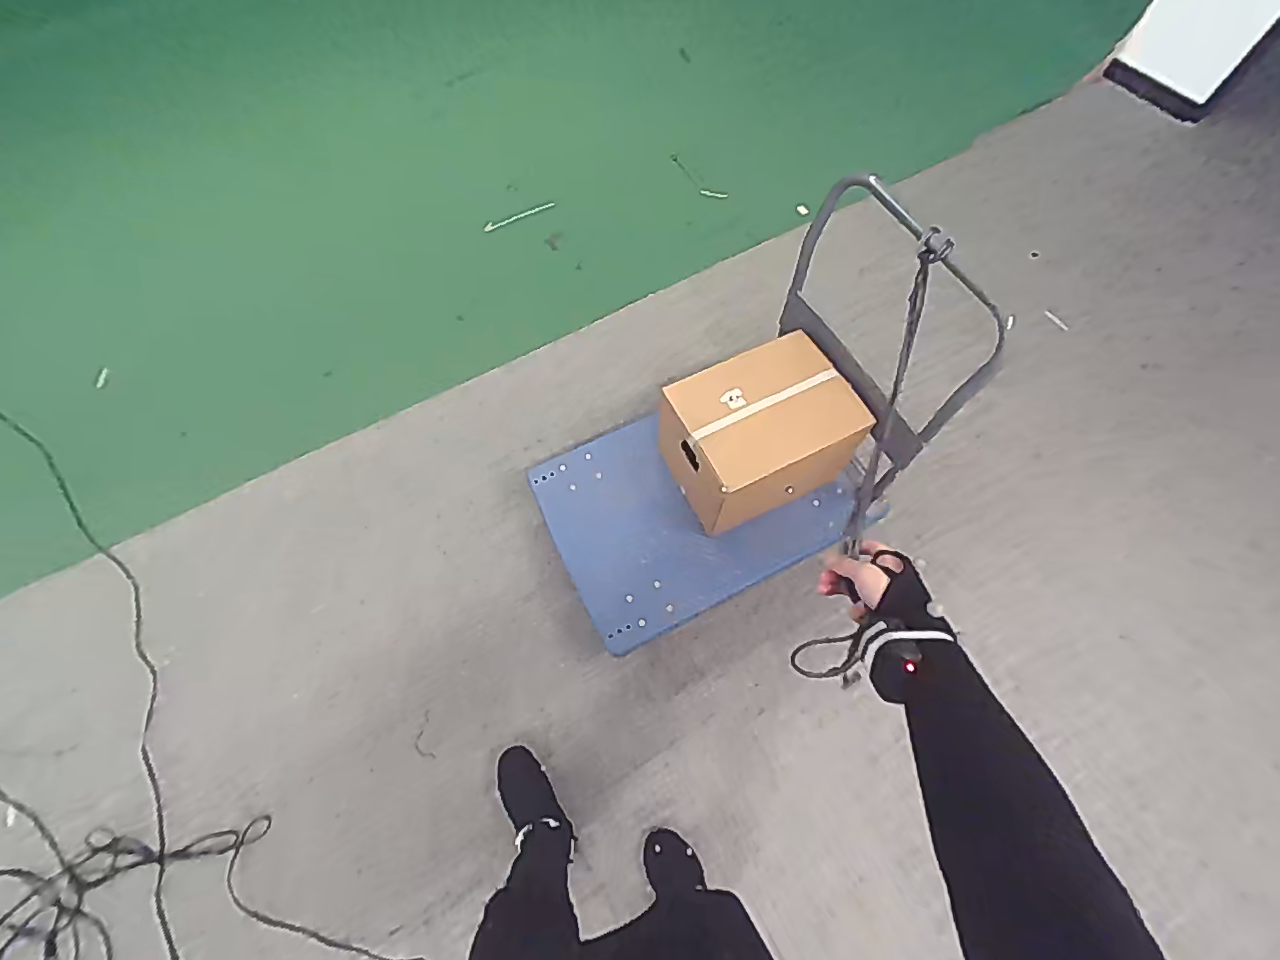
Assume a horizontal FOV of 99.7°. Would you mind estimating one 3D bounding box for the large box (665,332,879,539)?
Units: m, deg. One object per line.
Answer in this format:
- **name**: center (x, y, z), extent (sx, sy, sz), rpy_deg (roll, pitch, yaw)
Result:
- **large box**: center (0.311, -0.103, 1.392), extent (0.408, 0.320, 0.320), rpy_deg (-25, 67, -10)
